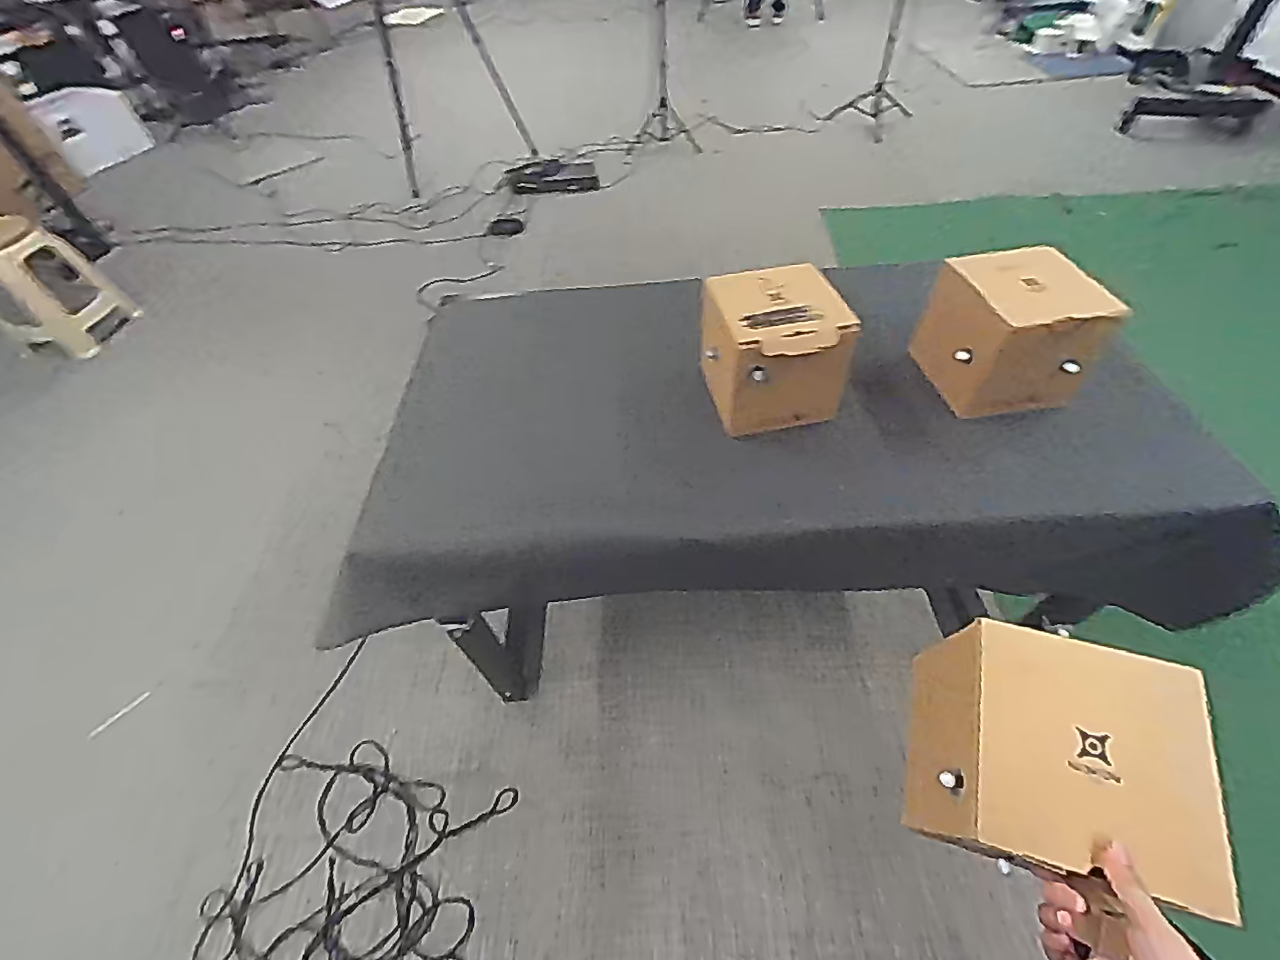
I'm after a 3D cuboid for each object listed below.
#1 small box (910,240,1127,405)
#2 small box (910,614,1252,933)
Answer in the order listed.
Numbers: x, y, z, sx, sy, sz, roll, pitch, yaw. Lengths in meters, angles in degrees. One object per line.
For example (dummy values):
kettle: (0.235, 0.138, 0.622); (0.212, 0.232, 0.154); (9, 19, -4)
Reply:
small box: (0.537, -0.225, 0.801); (0.168, 0.176, 0.179); (-8, 50, -4)
small box: (0.359, 0.245, 0.480); (0.168, 0.176, 0.179); (14, 64, 13)
